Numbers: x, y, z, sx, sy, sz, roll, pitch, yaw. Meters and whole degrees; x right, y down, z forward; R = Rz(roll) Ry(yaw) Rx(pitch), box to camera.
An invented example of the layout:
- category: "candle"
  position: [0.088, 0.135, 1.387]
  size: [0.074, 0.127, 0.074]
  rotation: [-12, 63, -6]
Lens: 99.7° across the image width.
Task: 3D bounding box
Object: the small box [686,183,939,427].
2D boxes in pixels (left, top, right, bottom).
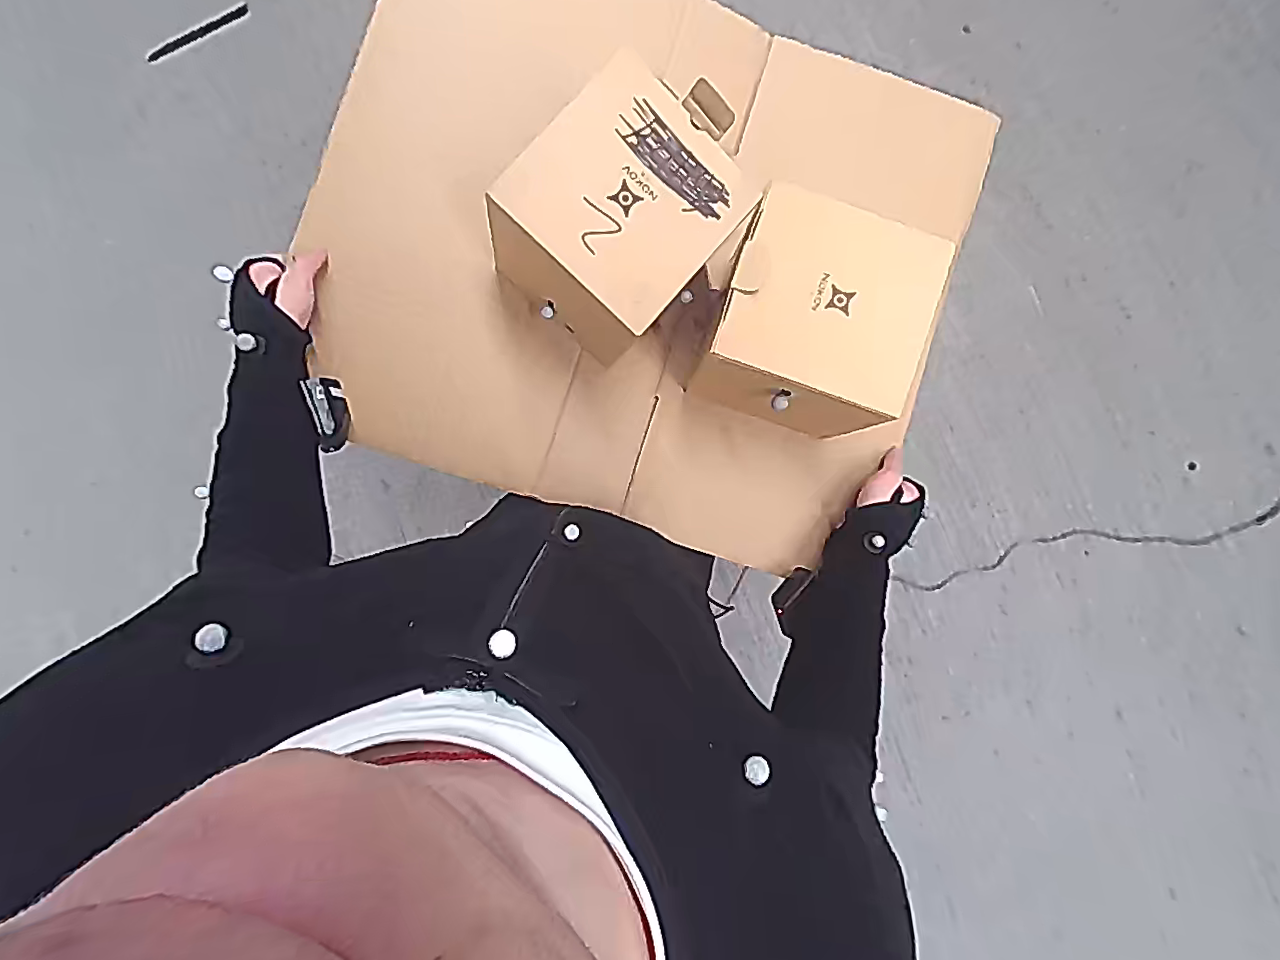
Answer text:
- category: "small box"
  position: [0.161, -0.161, 0.563]
  size: [0.179, 0.176, 0.168]
  rotation: [19, 87, -1]
